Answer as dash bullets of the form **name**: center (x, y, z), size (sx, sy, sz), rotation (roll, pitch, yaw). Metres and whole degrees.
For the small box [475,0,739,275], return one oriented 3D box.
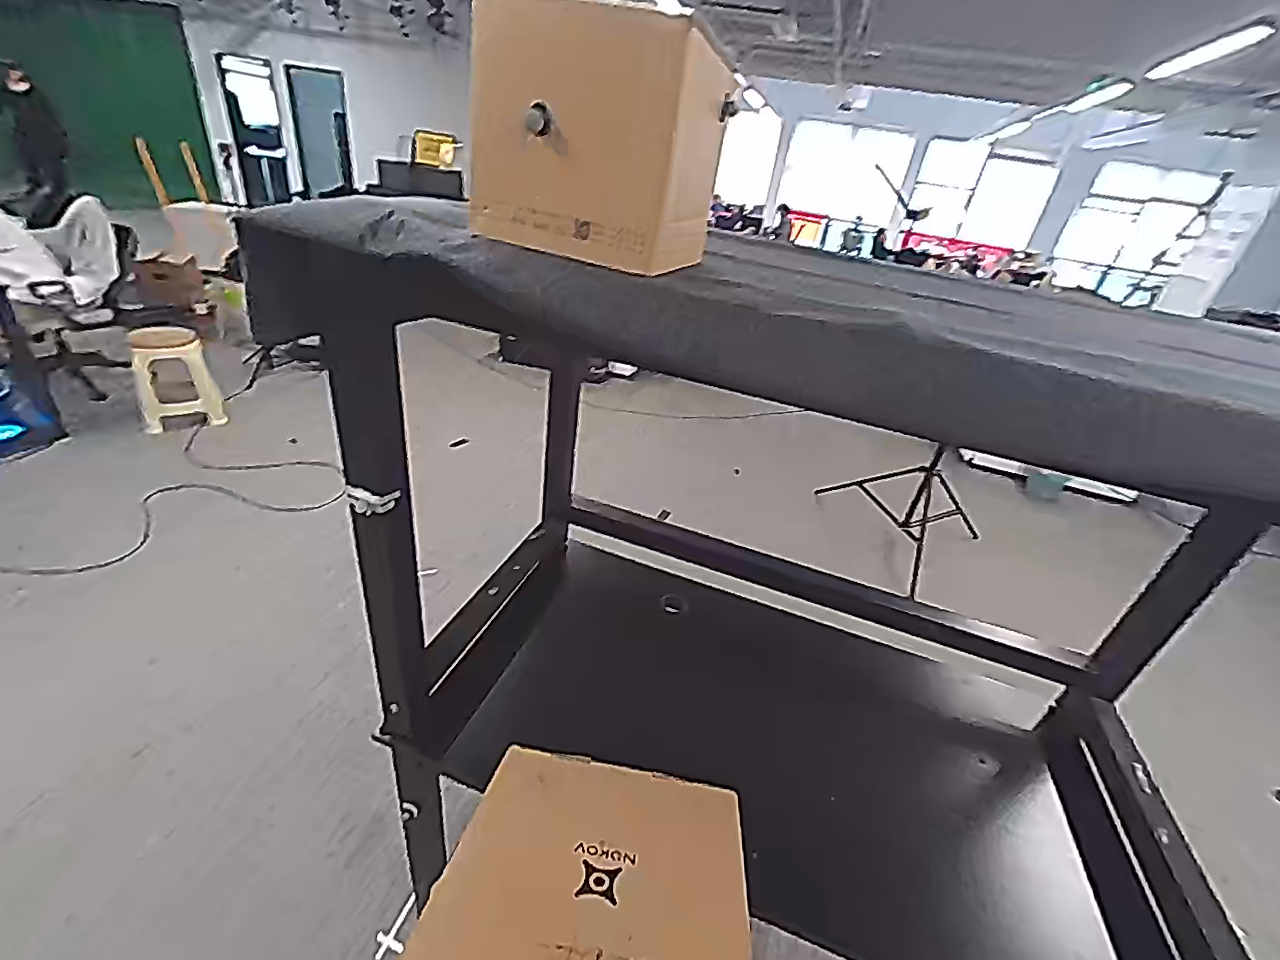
- **small box**: center (-0.025, -0.284, 0.473), size (0.168, 0.176, 0.179), rotation (18, 28, 12)

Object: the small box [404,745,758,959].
- **small box**: center (-0.031, 0.294, 0.310), size (0.168, 0.176, 0.179), rotation (8, 12, 4)
